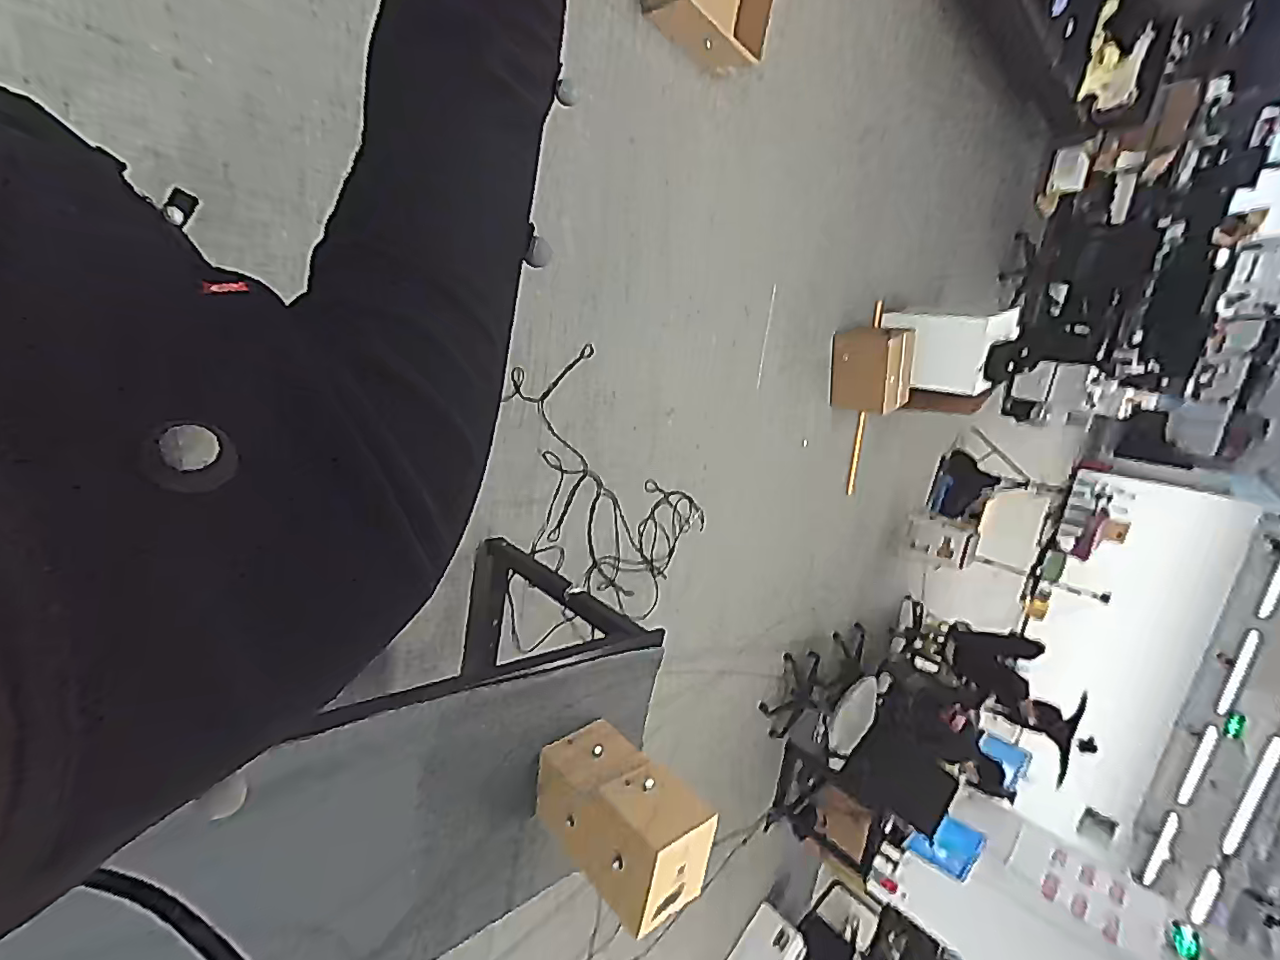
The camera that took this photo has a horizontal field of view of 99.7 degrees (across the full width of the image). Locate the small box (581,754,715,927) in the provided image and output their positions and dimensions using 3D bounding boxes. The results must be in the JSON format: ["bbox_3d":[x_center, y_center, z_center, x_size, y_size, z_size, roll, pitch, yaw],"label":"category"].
[{"bbox_3d":[0.009,0.658,1.011,0.168,0.176,0.179,3,103,-45],"label":"small box"}]

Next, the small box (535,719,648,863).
[{"bbox_3d":[-0.104,0.629,1.127,0.168,0.176,0.179,-7,111,-42],"label":"small box"}]
